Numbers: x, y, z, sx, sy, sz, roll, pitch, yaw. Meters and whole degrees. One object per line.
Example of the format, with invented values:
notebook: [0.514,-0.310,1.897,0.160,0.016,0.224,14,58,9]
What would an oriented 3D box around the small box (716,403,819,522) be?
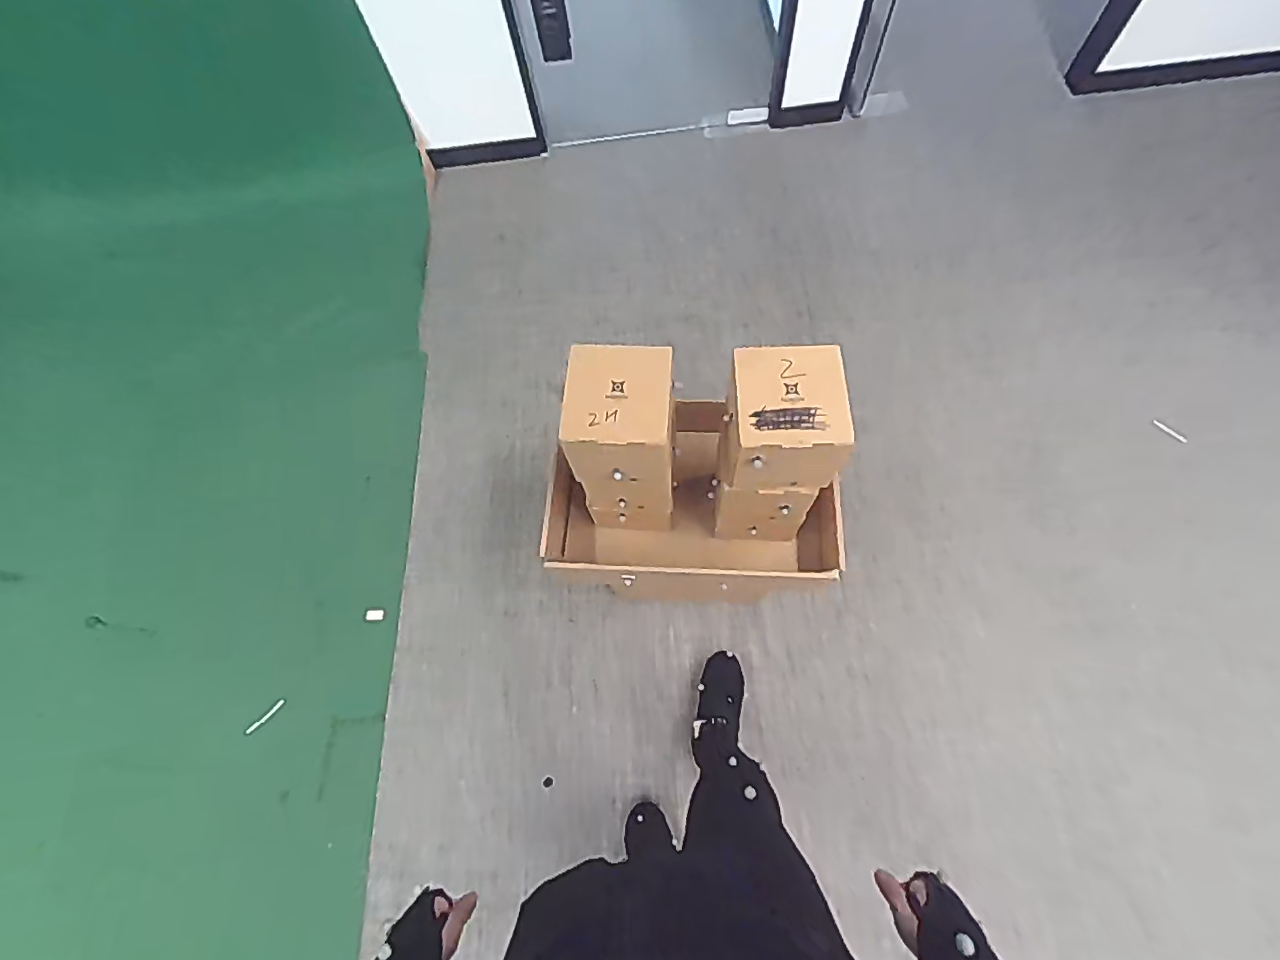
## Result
small box: [0.235,-0.027,1.025,0.168,0.176,0.179,3,67,5]

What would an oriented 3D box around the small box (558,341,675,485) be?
small box: [-0.030,-0.107,0.901,0.168,0.176,0.179,3,68,5]

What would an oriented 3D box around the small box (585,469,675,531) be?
small box: [-0.016,0.010,1.208,0.179,0.176,0.168,4,68,5]

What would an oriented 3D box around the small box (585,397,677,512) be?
small box: [-0.017,-0.050,1.055,0.168,0.176,0.179,3,68,4]
